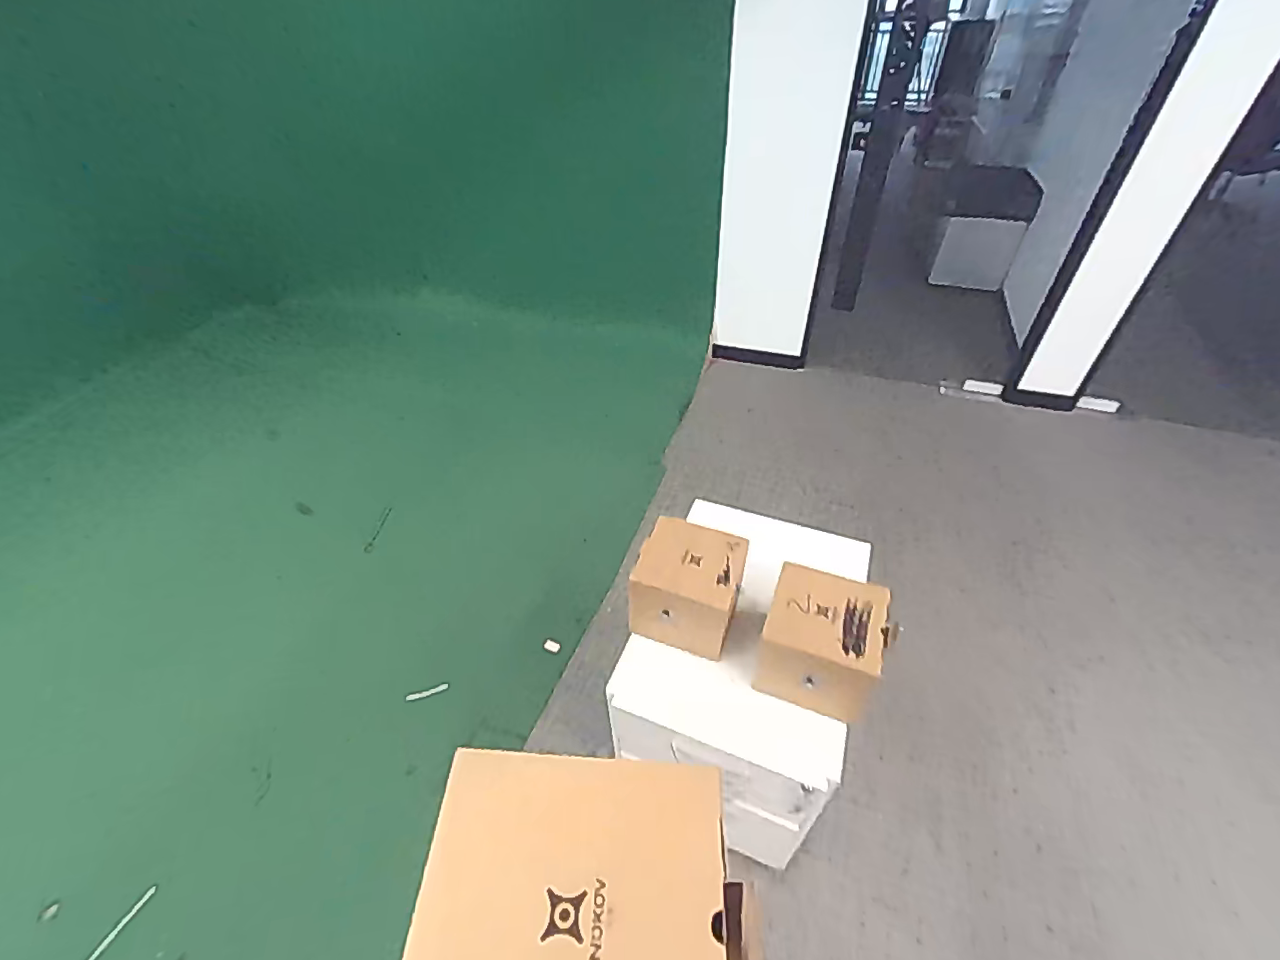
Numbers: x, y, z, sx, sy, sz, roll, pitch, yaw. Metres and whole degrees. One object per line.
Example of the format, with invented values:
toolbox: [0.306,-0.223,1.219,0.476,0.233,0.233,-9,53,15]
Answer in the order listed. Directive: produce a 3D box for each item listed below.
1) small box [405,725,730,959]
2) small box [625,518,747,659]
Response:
small box: [-0.041,0.287,0.369,0.179,0.176,0.168,5,46,-2]
small box: [0.084,0.202,0.998,0.179,0.176,0.168,14,44,16]
